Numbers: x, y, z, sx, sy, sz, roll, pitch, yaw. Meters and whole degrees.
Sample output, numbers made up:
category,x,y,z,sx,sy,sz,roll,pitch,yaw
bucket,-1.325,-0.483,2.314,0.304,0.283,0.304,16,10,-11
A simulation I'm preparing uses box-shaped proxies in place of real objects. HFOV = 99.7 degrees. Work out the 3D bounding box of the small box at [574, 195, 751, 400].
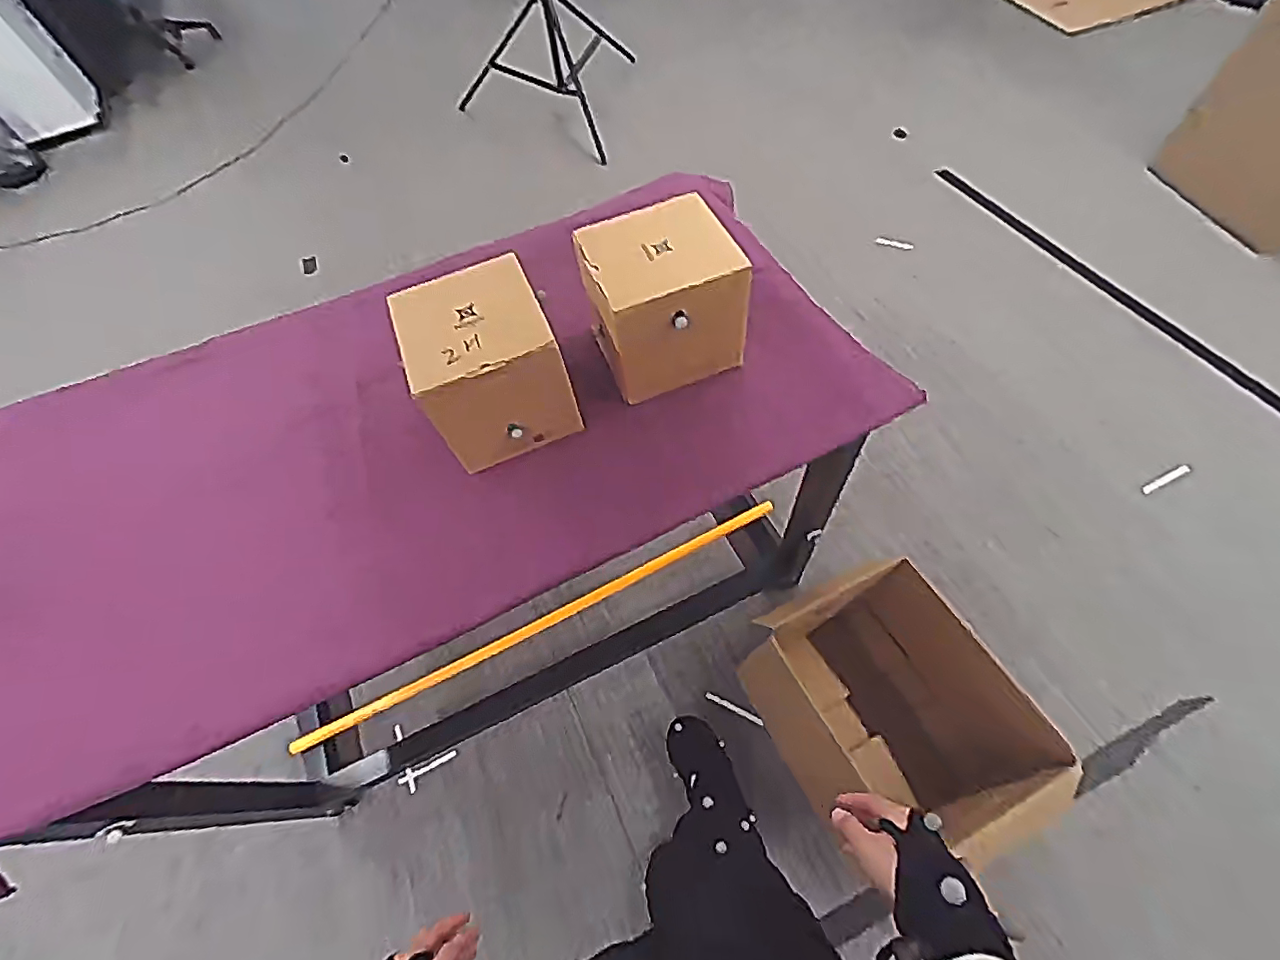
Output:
category,x,y,z,sx,sy,sz,roll,pitch,yaw
small box,0.029,-0.239,0.727,0.179,0.176,0.168,-21,59,-6

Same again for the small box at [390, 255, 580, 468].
category,x,y,z,sx,sy,sz,roll,pitch,yaw
small box,-0.191,-0.147,0.695,0.168,0.176,0.179,-23,60,-7
